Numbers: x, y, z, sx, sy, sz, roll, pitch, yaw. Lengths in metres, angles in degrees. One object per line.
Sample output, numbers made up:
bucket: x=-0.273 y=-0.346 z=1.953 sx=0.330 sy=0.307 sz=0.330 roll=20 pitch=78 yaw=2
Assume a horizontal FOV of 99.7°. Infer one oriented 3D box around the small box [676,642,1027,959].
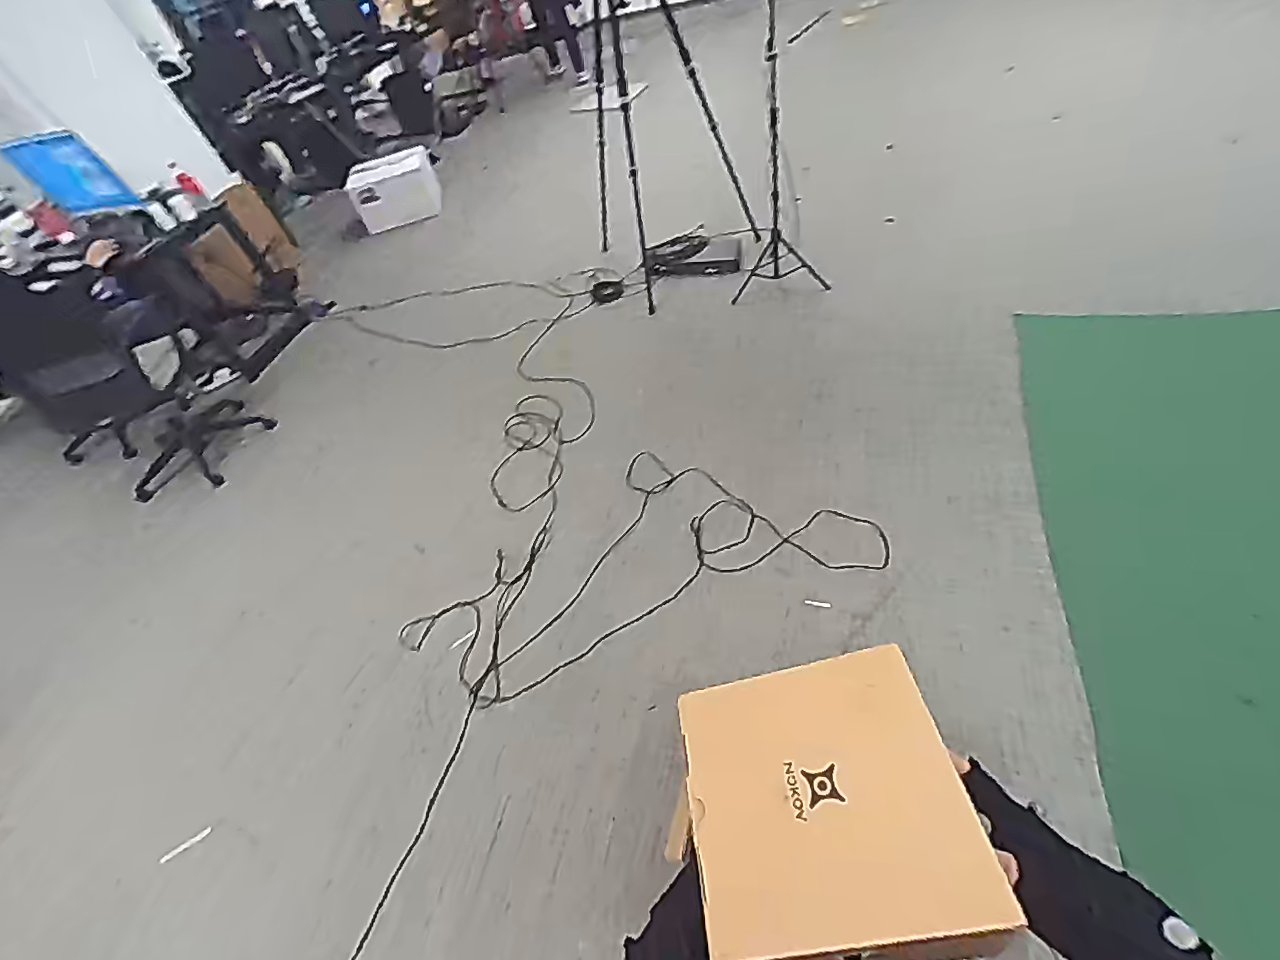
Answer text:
small box: x=0.143 y=0.251 z=0.405 sx=0.179 sy=0.176 sz=0.168 roll=-20 pitch=43 yaw=12
